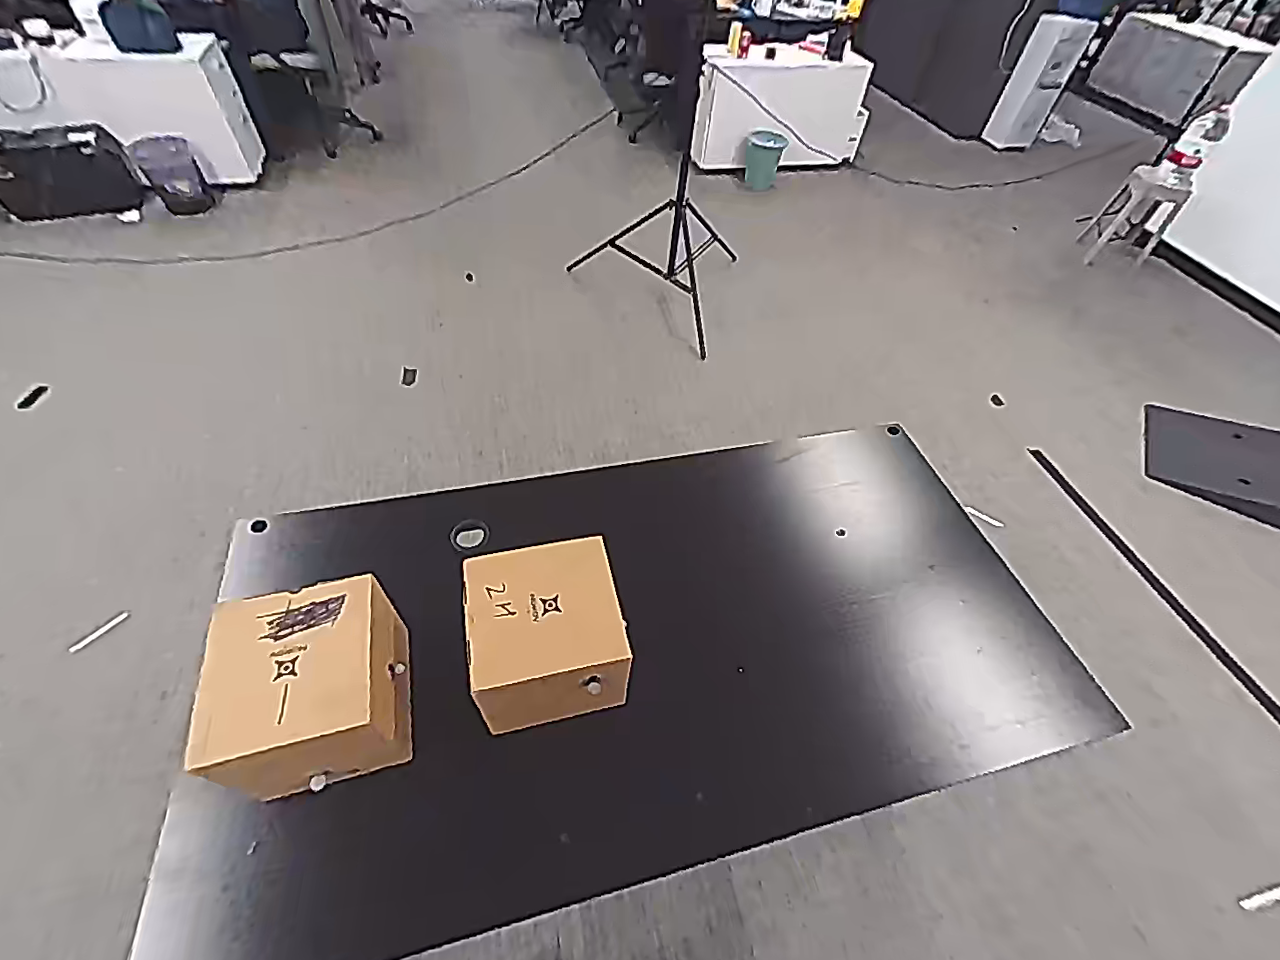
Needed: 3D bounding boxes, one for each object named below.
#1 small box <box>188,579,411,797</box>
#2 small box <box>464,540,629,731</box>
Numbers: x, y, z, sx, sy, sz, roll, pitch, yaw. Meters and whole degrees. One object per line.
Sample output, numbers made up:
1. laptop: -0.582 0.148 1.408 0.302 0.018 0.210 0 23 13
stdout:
1. small box: -0.377 0.245 0.638 0.168 0.176 0.179 -11 54 -13
2. small box: -0.120 0.202 0.695 0.179 0.176 0.168 -9 52 -12
